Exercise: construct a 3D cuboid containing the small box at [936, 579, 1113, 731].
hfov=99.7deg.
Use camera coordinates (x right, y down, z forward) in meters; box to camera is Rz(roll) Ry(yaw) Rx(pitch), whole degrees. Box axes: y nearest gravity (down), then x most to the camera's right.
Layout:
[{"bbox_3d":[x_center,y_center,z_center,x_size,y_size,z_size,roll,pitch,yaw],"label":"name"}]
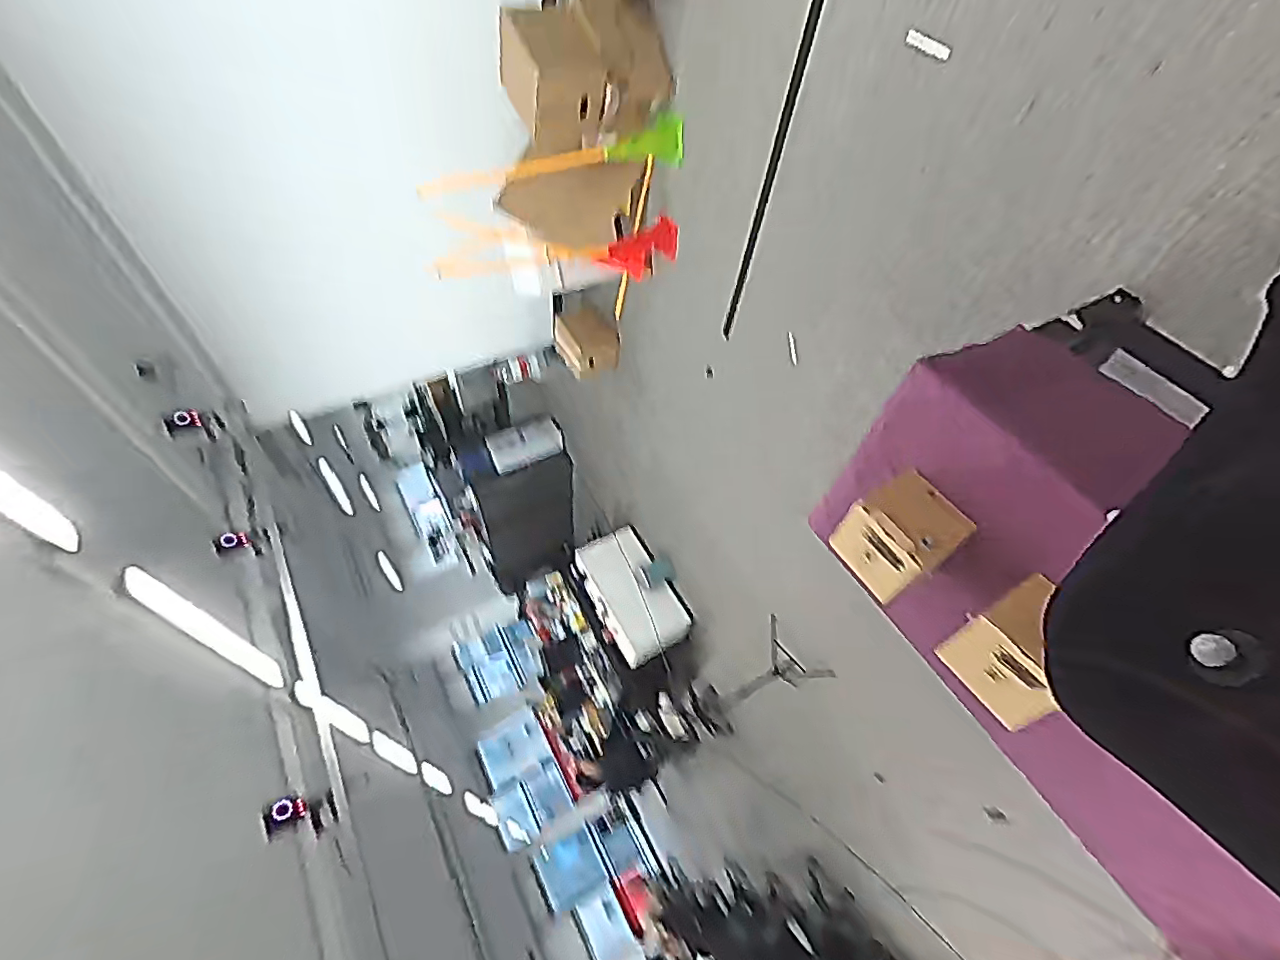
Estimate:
[{"bbox_3d":[0.685,0.308,0.967,0.168,0.176,0.179,52,155,32],"label":"small box"}]
